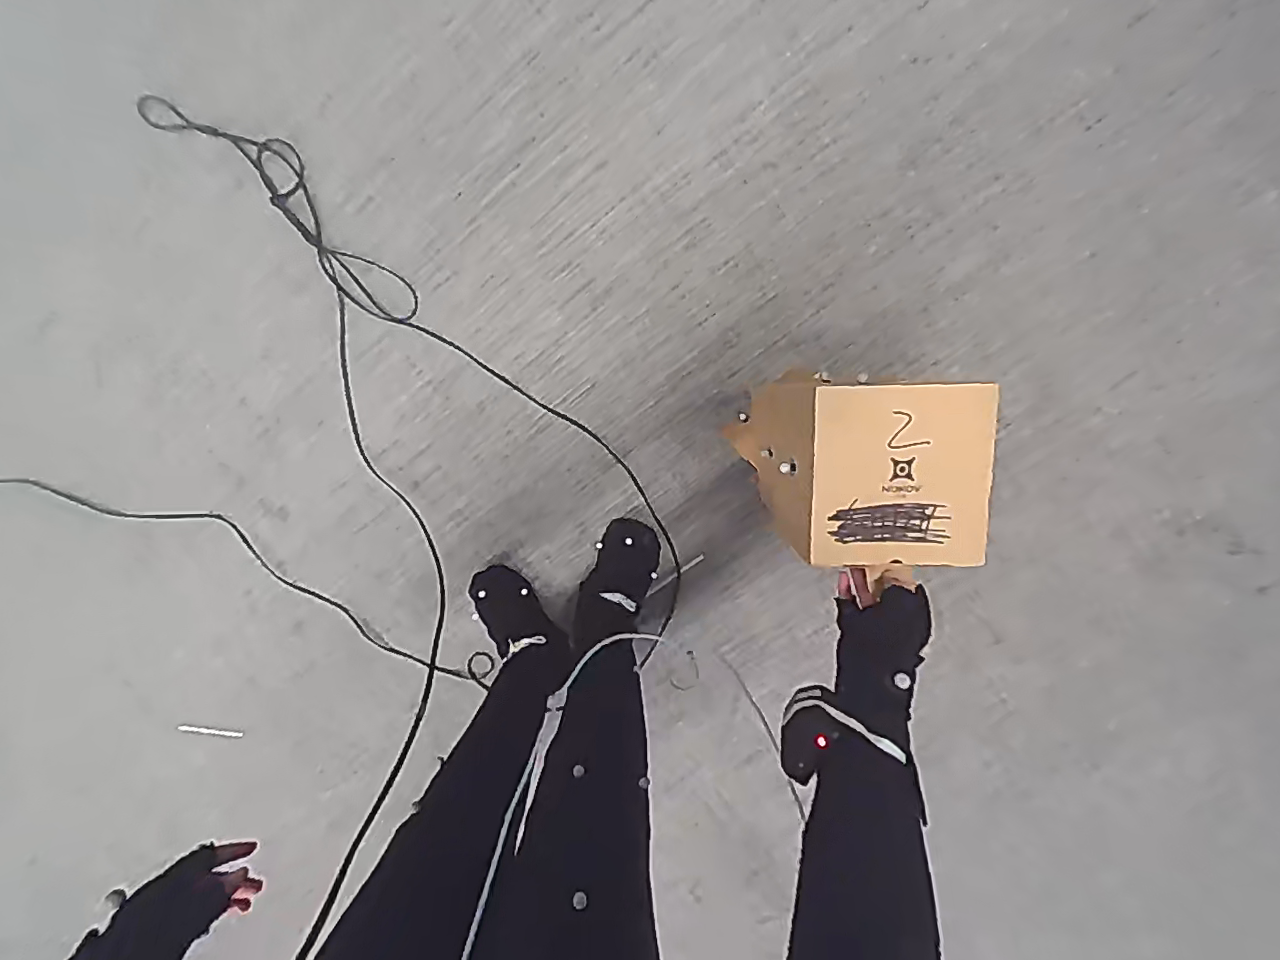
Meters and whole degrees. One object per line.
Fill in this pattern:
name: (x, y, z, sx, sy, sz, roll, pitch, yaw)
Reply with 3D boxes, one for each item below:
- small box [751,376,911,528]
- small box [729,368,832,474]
small box: (0.255, -0.049, 0.751, 0.168, 0.176, 0.179, -7, 104, 3)
small box: (0.263, -0.067, 0.899, 0.179, 0.176, 0.168, -41, 100, 10)
